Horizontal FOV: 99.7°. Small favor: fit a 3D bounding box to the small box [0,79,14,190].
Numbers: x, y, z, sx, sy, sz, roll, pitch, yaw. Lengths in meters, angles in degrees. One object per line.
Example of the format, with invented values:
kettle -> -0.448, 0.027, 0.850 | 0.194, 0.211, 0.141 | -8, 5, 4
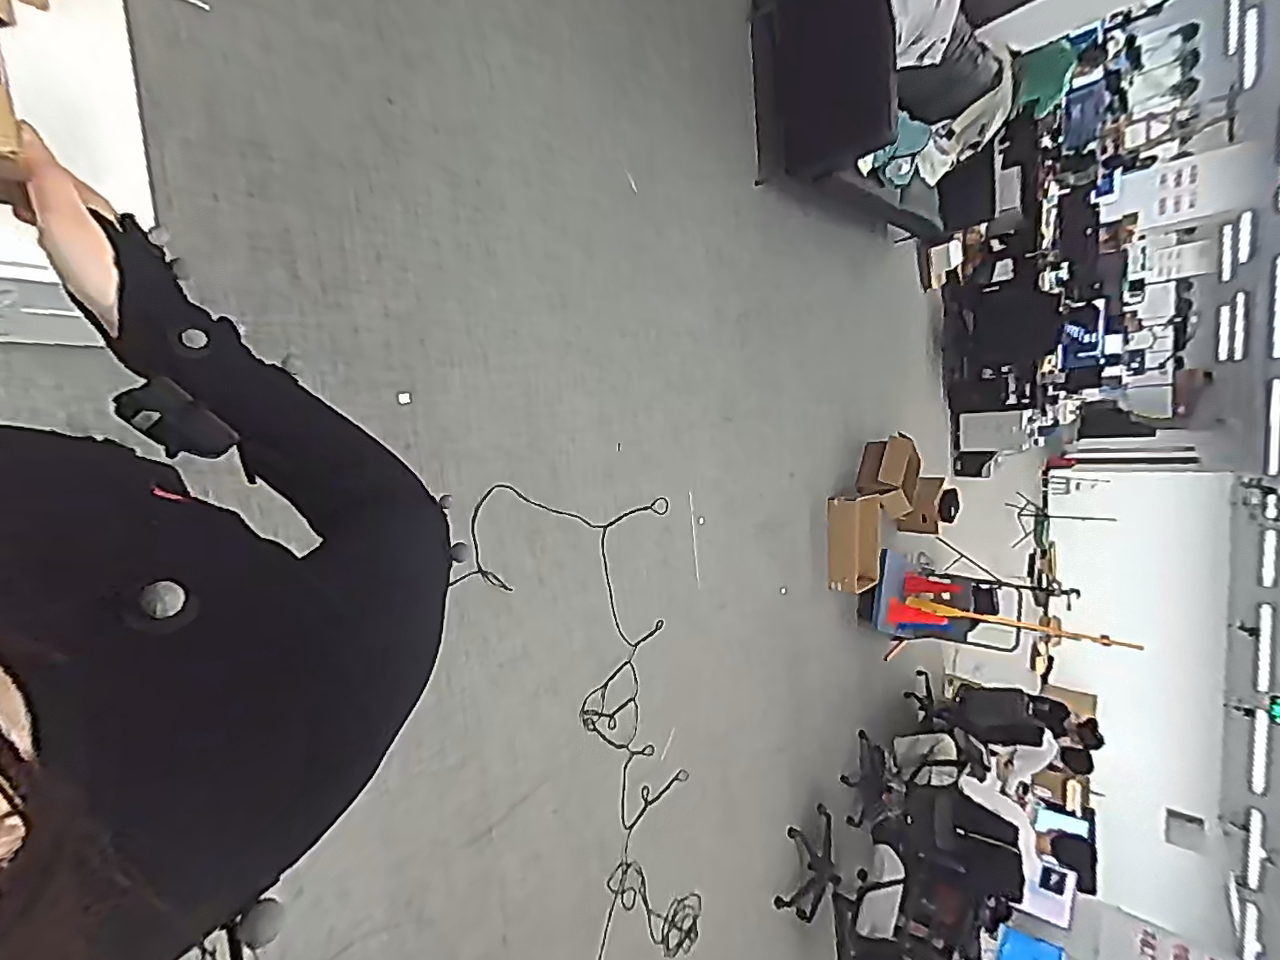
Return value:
small box -> -0.428, -0.242, 0.242 | 0.179, 0.176, 0.168 | -12, 108, -44
